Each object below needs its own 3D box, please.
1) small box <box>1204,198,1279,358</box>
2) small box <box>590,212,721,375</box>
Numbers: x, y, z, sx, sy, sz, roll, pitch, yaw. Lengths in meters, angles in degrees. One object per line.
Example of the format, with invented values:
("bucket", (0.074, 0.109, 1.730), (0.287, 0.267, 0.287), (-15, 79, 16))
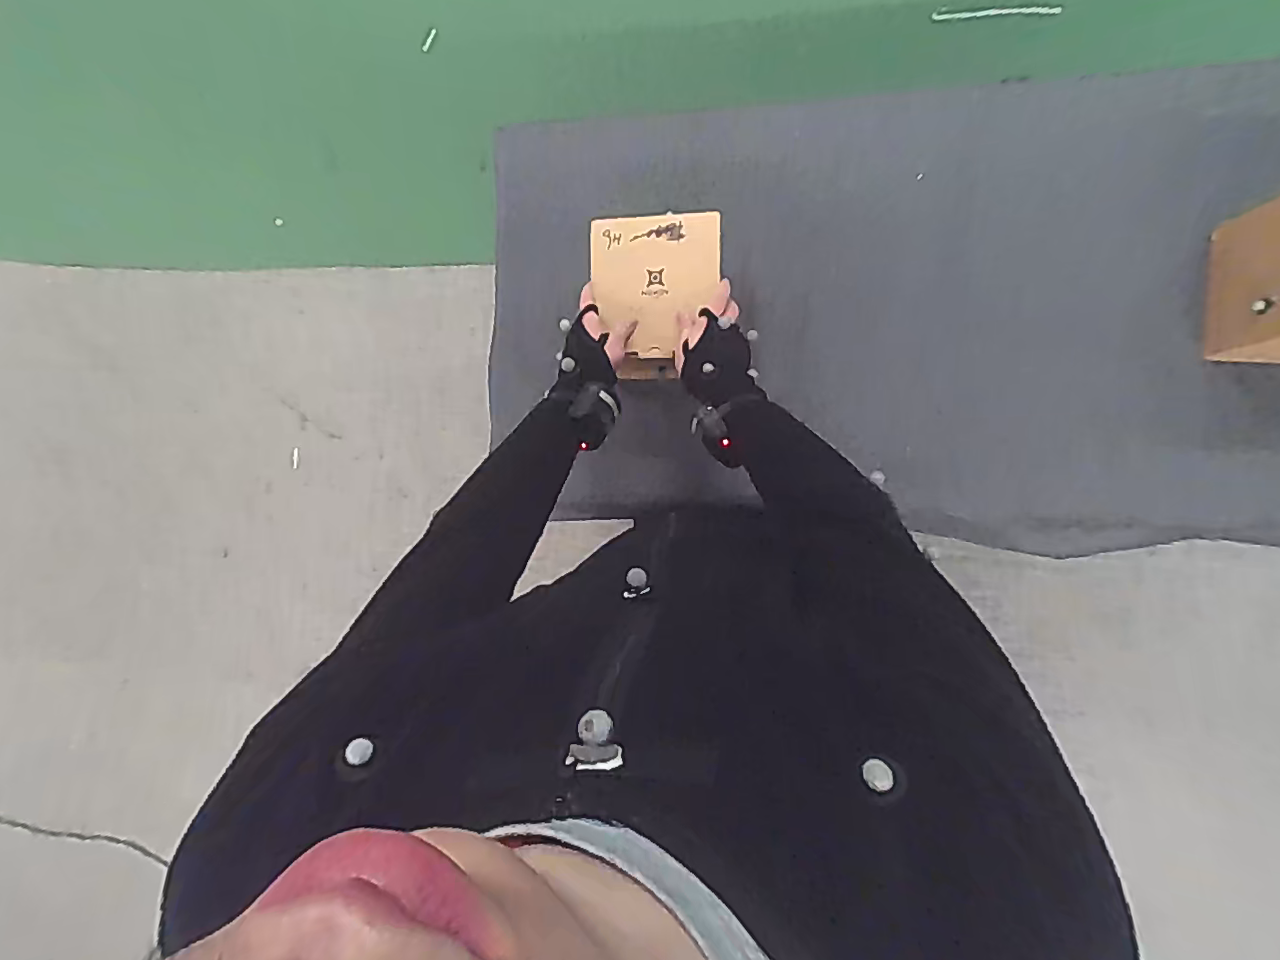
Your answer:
("small box", (0.827, -0.242, 0.634), (0.168, 0.176, 0.179), (4, 89, 8))
("small box", (0.029, -0.244, 0.754), (0.168, 0.176, 0.179), (0, 90, 7))
